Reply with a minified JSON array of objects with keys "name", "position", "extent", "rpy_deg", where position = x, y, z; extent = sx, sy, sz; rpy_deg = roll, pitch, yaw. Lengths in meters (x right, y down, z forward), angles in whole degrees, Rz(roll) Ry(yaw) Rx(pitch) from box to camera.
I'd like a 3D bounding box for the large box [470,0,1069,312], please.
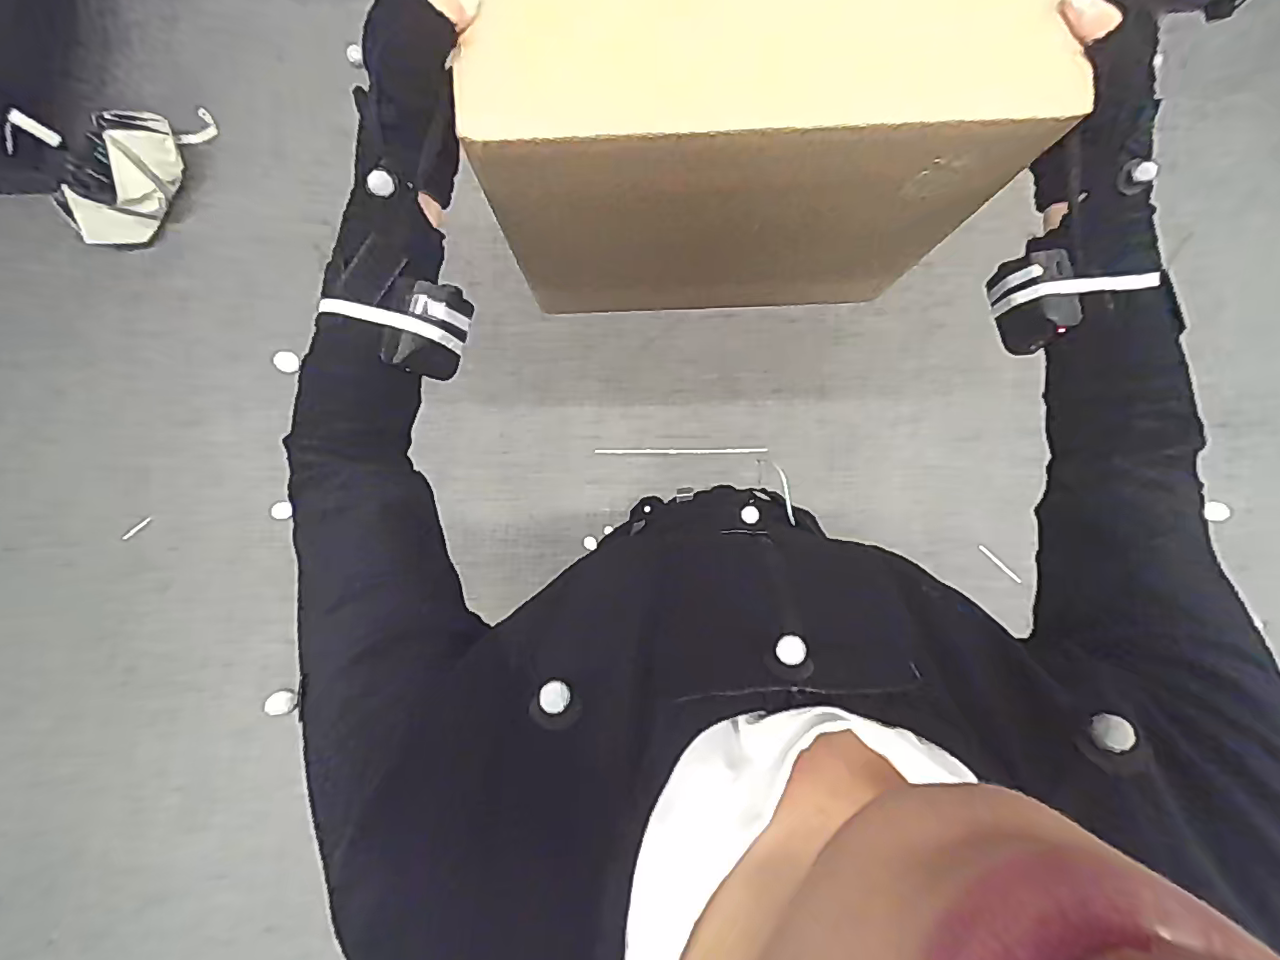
[{"name":"large box","position":[0.076,-0.373,0.514],"extent":[0.408,0.320,0.320],"rpy_deg":[-3,87,-2]}]
